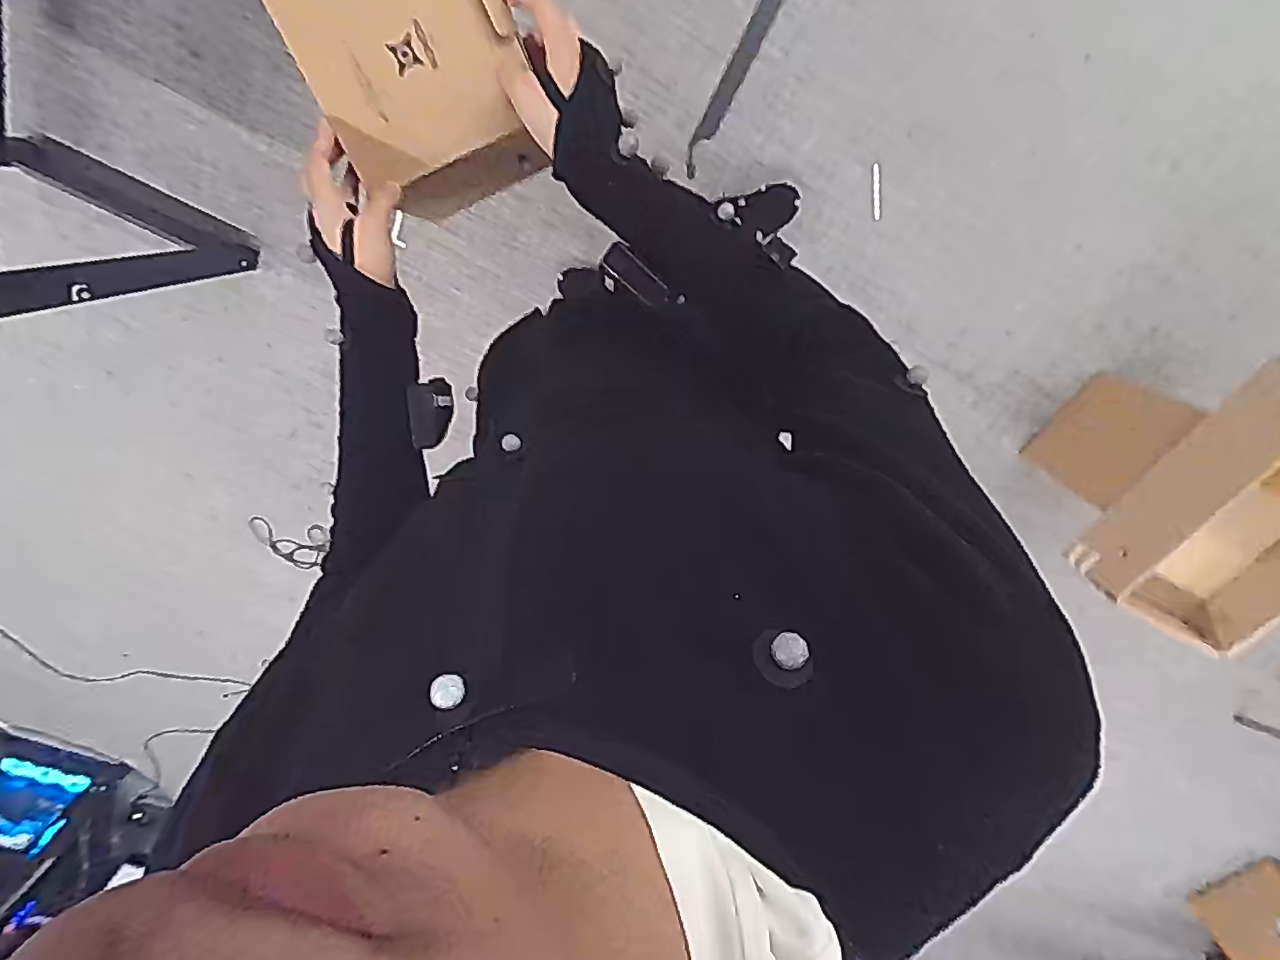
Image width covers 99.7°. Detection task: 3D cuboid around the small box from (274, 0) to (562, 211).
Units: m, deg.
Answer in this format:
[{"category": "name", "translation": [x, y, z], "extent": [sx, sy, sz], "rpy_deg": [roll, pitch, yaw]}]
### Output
[{"category": "small box", "translation": [-0.181, -0.374, 0.500], "extent": [0.179, 0.176, 0.168], "rpy_deg": [-22, 109, 5]}]

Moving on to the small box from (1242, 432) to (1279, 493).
[{"category": "small box", "translation": [1.485, -0.019, 1.152], "extent": [0.179, 0.176, 0.168], "rpy_deg": [21, 115, -10]}]
